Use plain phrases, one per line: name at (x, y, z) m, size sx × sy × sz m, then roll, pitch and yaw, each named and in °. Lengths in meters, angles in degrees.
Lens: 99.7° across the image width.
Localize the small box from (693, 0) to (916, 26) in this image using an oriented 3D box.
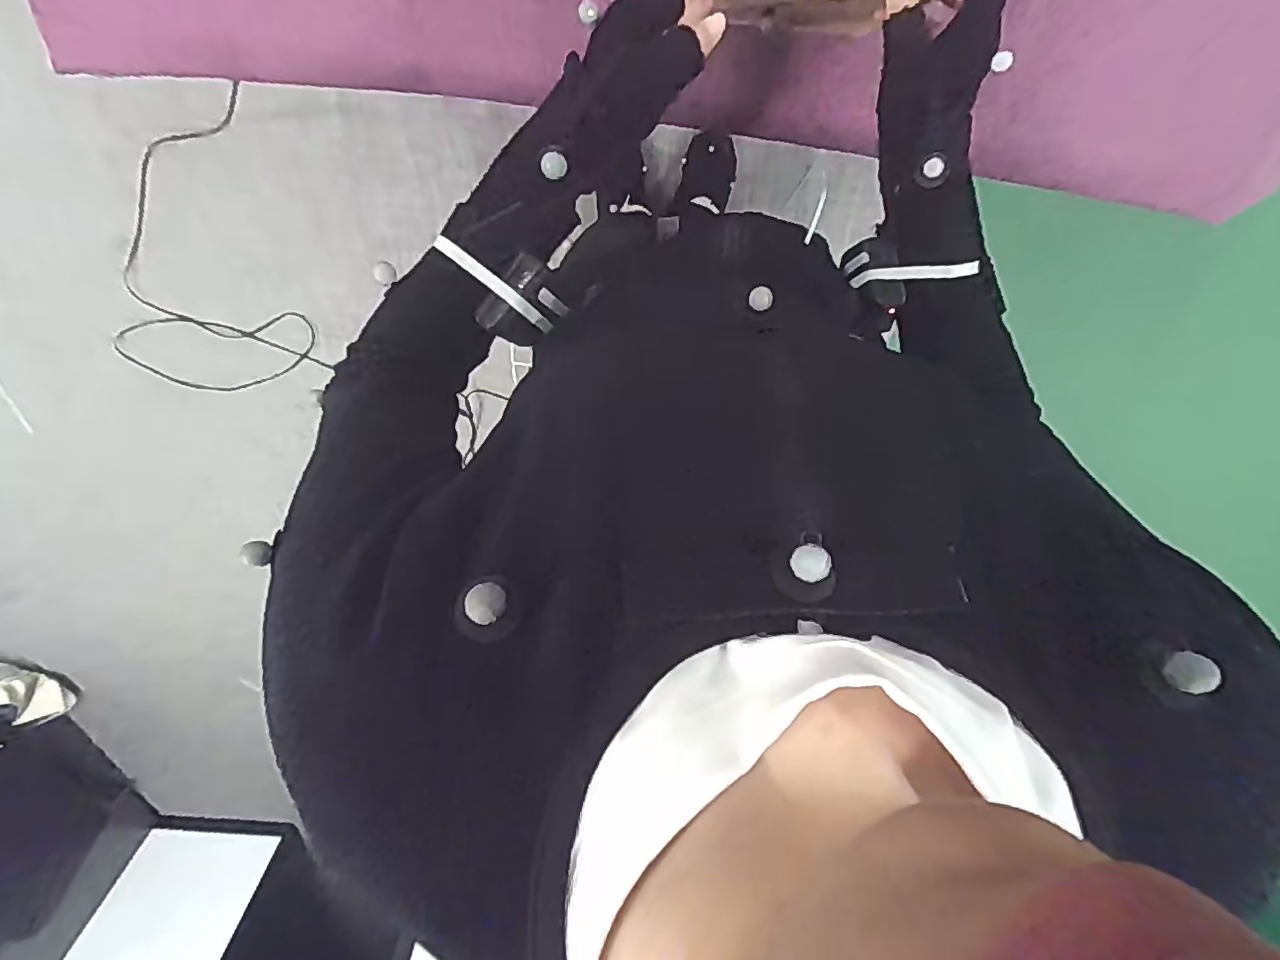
small box at (0.123, -0.449, 0.380) m, size 0.168 × 0.176 × 0.179 m, roll 4°, pitch 125°, yaw -1°
